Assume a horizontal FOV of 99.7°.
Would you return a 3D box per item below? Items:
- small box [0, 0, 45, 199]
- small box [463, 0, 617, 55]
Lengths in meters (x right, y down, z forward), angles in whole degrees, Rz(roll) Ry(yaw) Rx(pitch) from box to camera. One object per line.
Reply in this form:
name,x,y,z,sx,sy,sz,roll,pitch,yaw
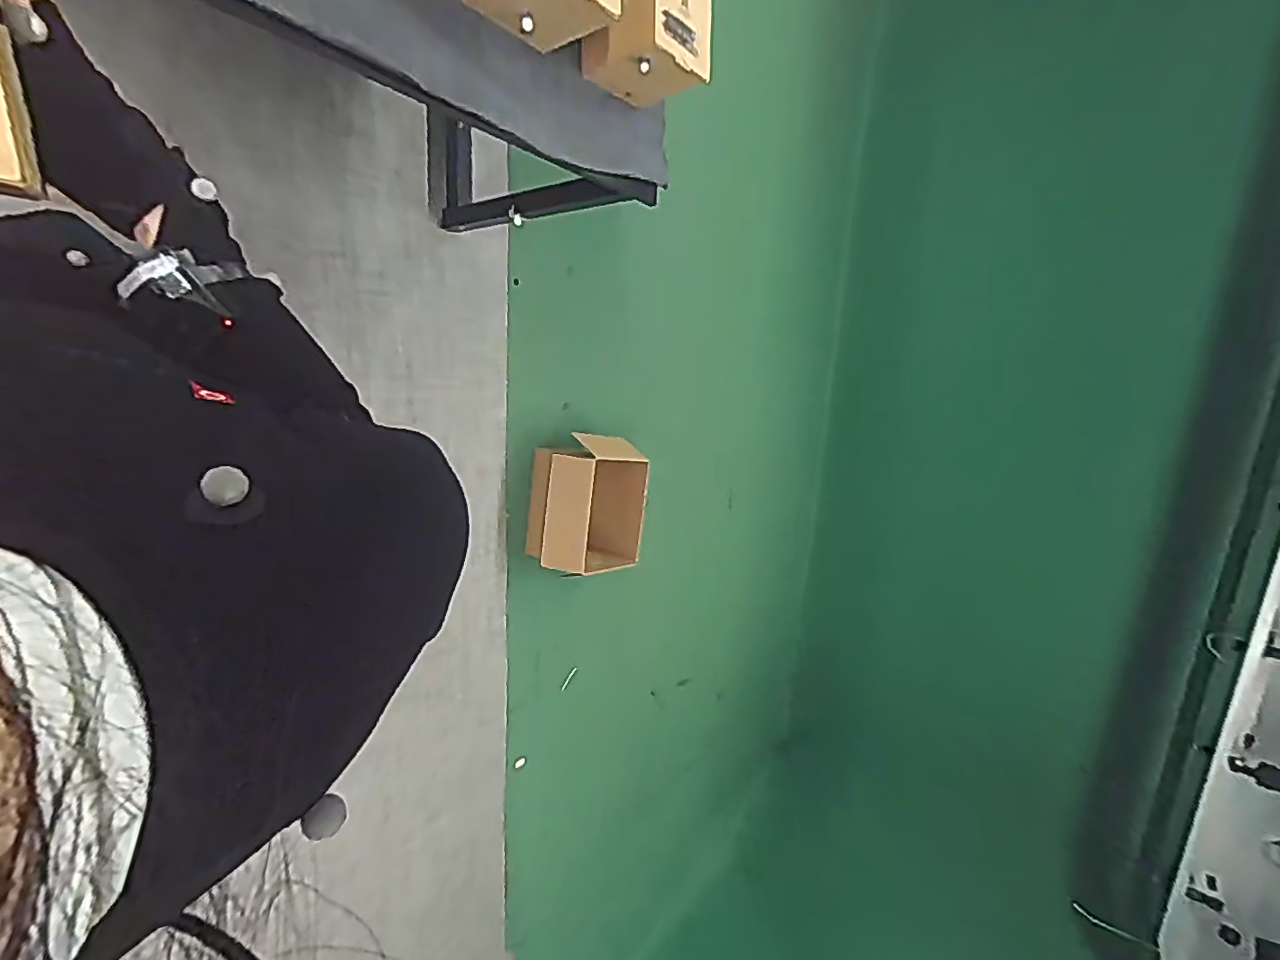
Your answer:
small box,-0.407,-0.239,0.243,0.168,0.176,0.179,-12,117,-43
small box,-0.147,-0.762,0.771,0.168,0.176,0.179,-13,109,-51
